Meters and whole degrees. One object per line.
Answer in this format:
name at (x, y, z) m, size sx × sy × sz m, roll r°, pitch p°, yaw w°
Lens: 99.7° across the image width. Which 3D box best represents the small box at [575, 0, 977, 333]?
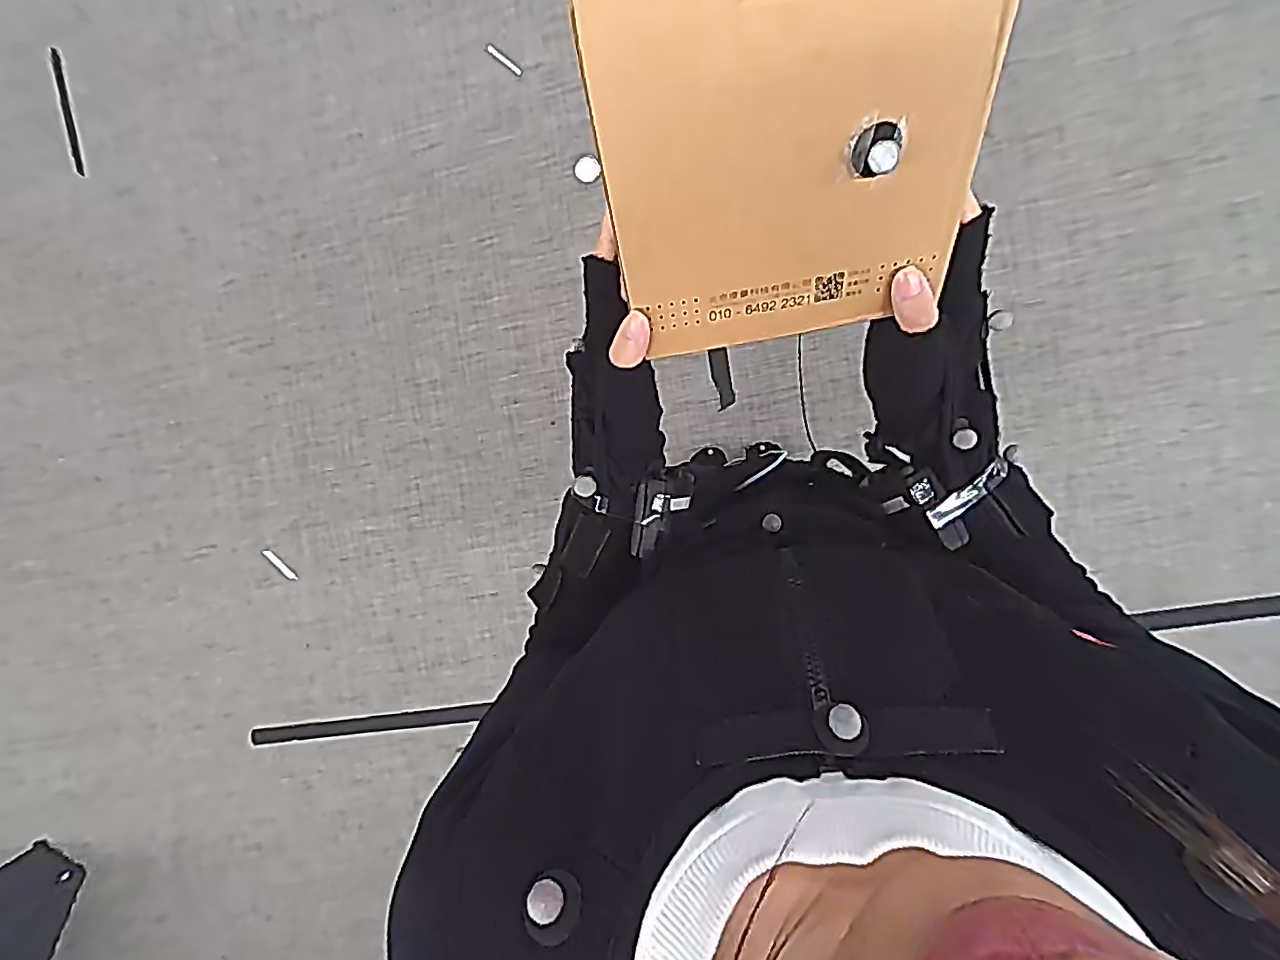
small box at (0.065, -0.201, 0.315) m, size 0.168 × 0.176 × 0.179 m, roll -8°, pitch 48°, yaw 5°
